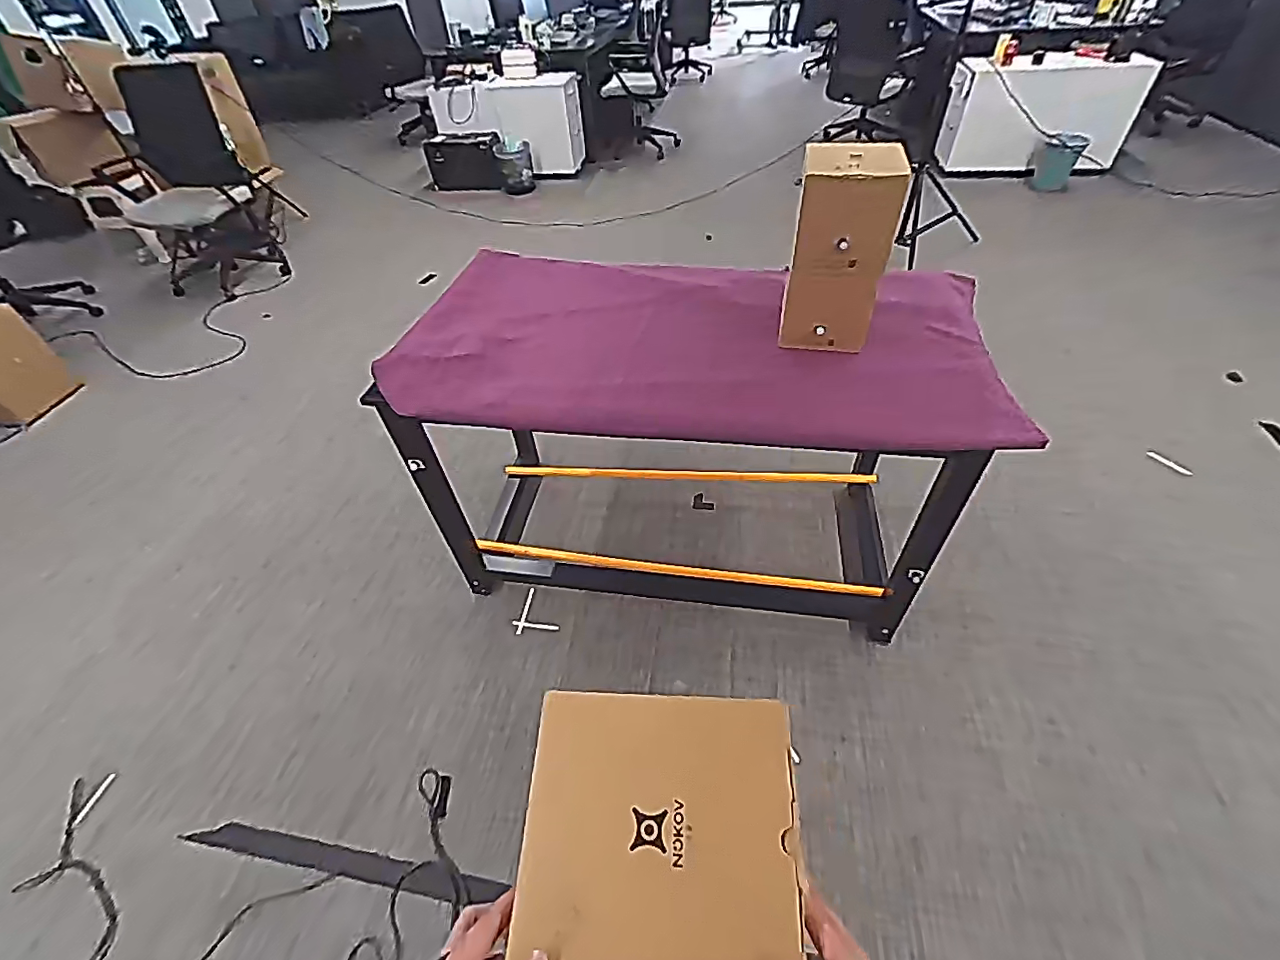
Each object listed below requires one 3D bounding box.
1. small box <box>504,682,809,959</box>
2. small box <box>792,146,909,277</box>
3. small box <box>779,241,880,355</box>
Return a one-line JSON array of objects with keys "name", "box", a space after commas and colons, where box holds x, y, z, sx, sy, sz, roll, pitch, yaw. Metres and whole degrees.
[{"name": "small box", "box": [0.024, 0.259, 0.406, 0.179, 0.176, 0.168, -1, 57, 9]}, {"name": "small box", "box": [0.376, -0.494, 0.992, 0.168, 0.176, 0.179, 6, 47, 12]}, {"name": "small box", "box": [0.382, -0.380, 1.112, 0.168, 0.176, 0.179, 7, 48, 12]}]
